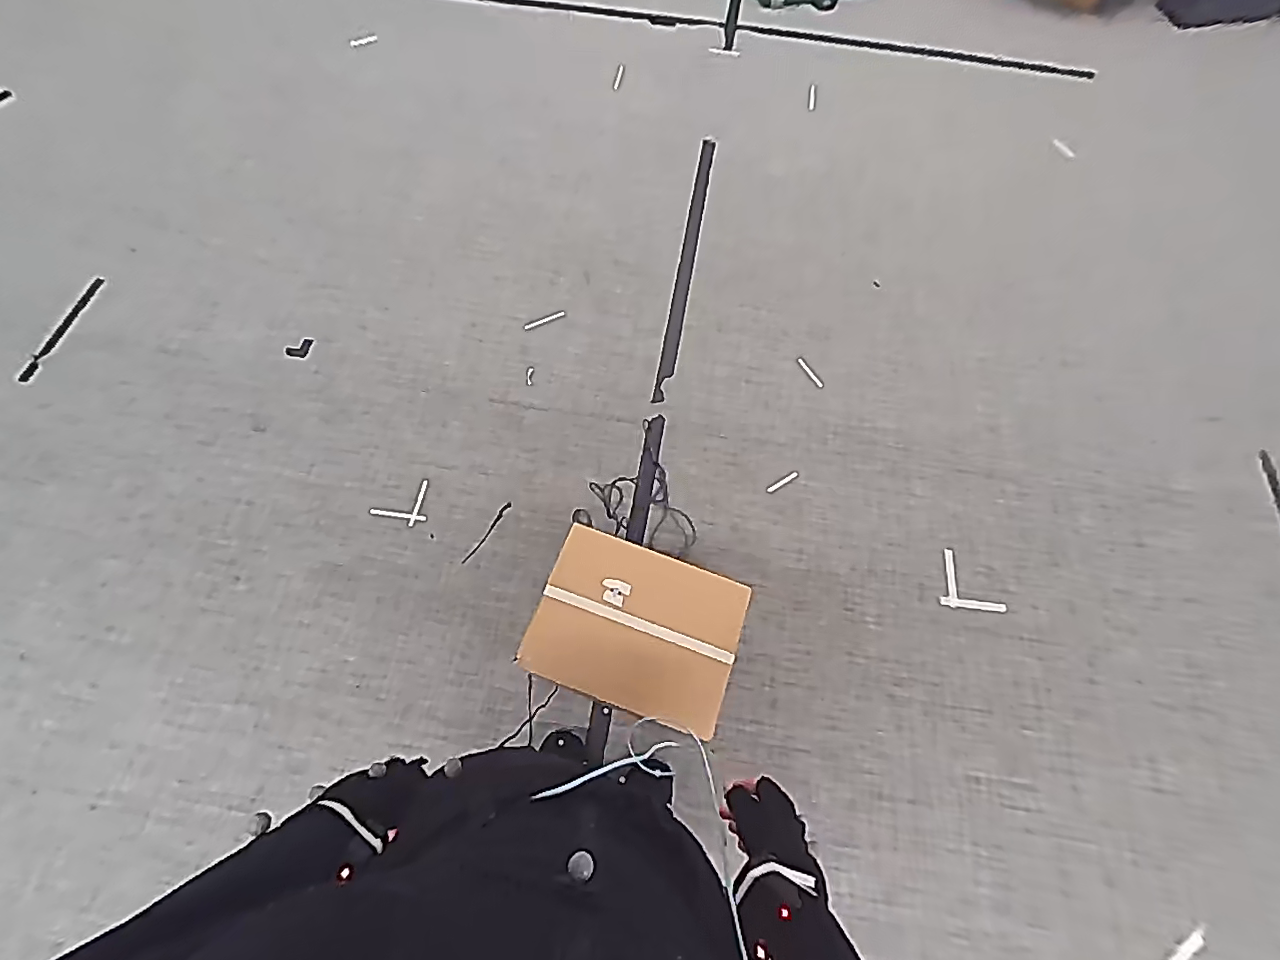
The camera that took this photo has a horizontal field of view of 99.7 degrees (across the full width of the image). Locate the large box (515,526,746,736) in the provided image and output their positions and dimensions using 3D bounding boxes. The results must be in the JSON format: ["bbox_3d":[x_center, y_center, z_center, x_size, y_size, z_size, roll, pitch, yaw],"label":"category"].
[{"bbox_3d":[-0.017,0.350,1.229,0.408,0.320,0.320,20,66,5],"label":"large box"}]
